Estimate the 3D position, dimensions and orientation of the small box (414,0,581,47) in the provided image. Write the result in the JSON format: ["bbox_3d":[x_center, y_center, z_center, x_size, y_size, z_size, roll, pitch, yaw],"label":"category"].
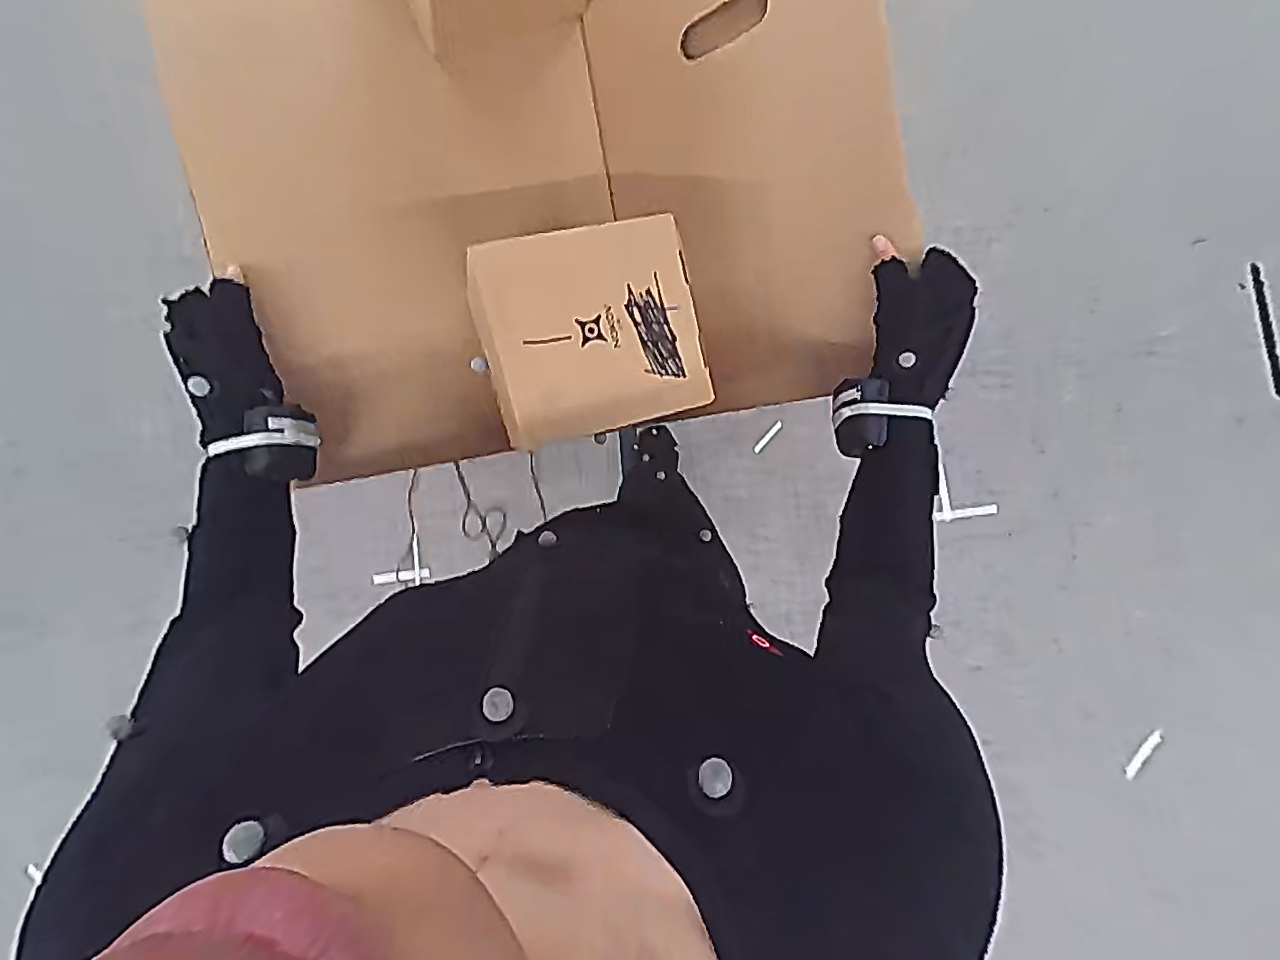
[{"bbox_3d":[-0.141,-0.534,0.477,0.179,0.176,0.168,-28,102,-15],"label":"small box"}]
